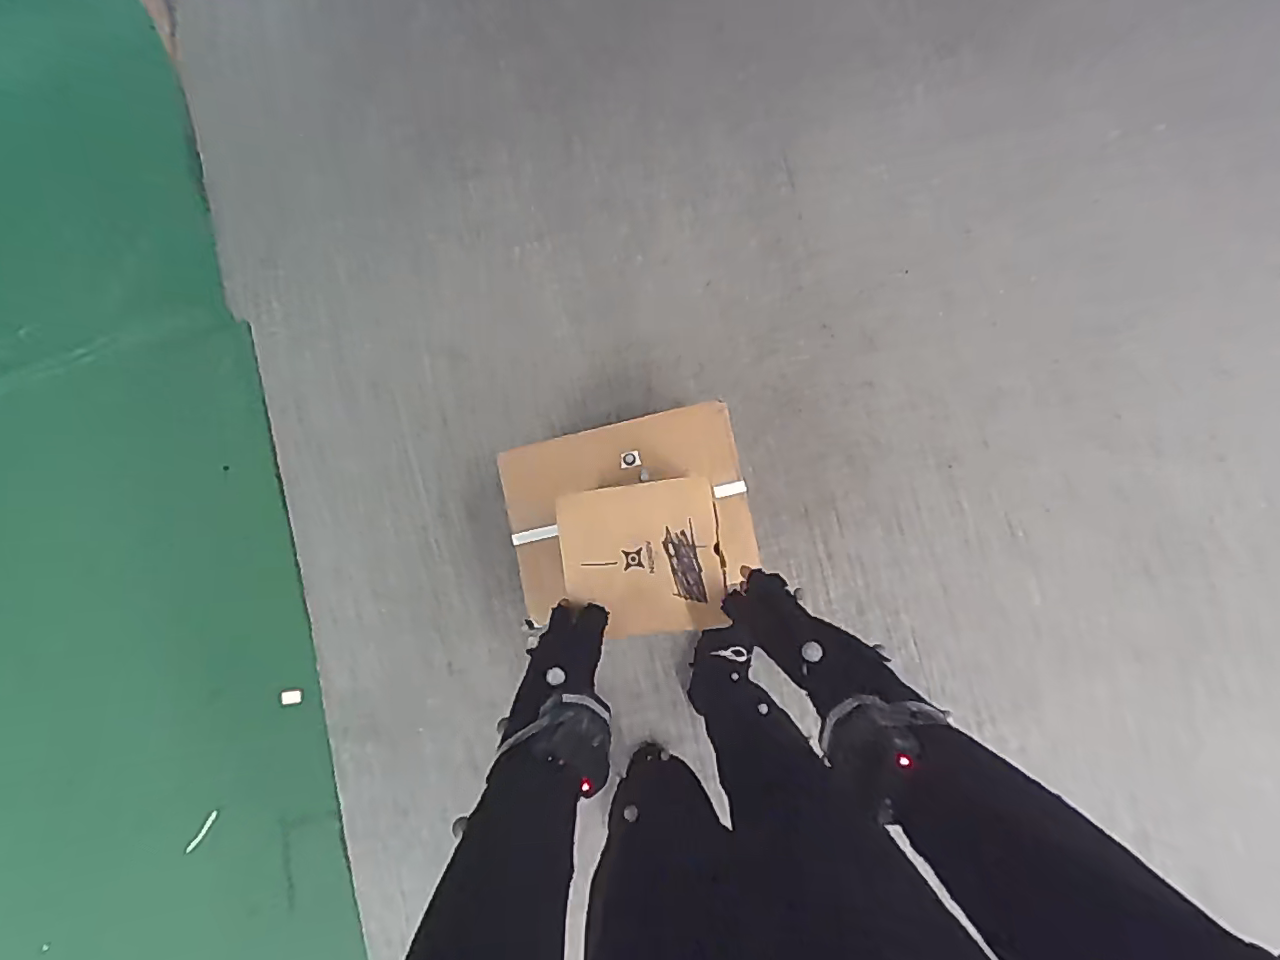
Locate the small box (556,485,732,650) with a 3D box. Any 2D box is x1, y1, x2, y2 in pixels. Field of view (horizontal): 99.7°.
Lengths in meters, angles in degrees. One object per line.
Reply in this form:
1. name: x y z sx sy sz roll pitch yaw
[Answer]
1. small box: 0.008 0.096 0.665 0.179 0.176 0.168 -8 87 4
